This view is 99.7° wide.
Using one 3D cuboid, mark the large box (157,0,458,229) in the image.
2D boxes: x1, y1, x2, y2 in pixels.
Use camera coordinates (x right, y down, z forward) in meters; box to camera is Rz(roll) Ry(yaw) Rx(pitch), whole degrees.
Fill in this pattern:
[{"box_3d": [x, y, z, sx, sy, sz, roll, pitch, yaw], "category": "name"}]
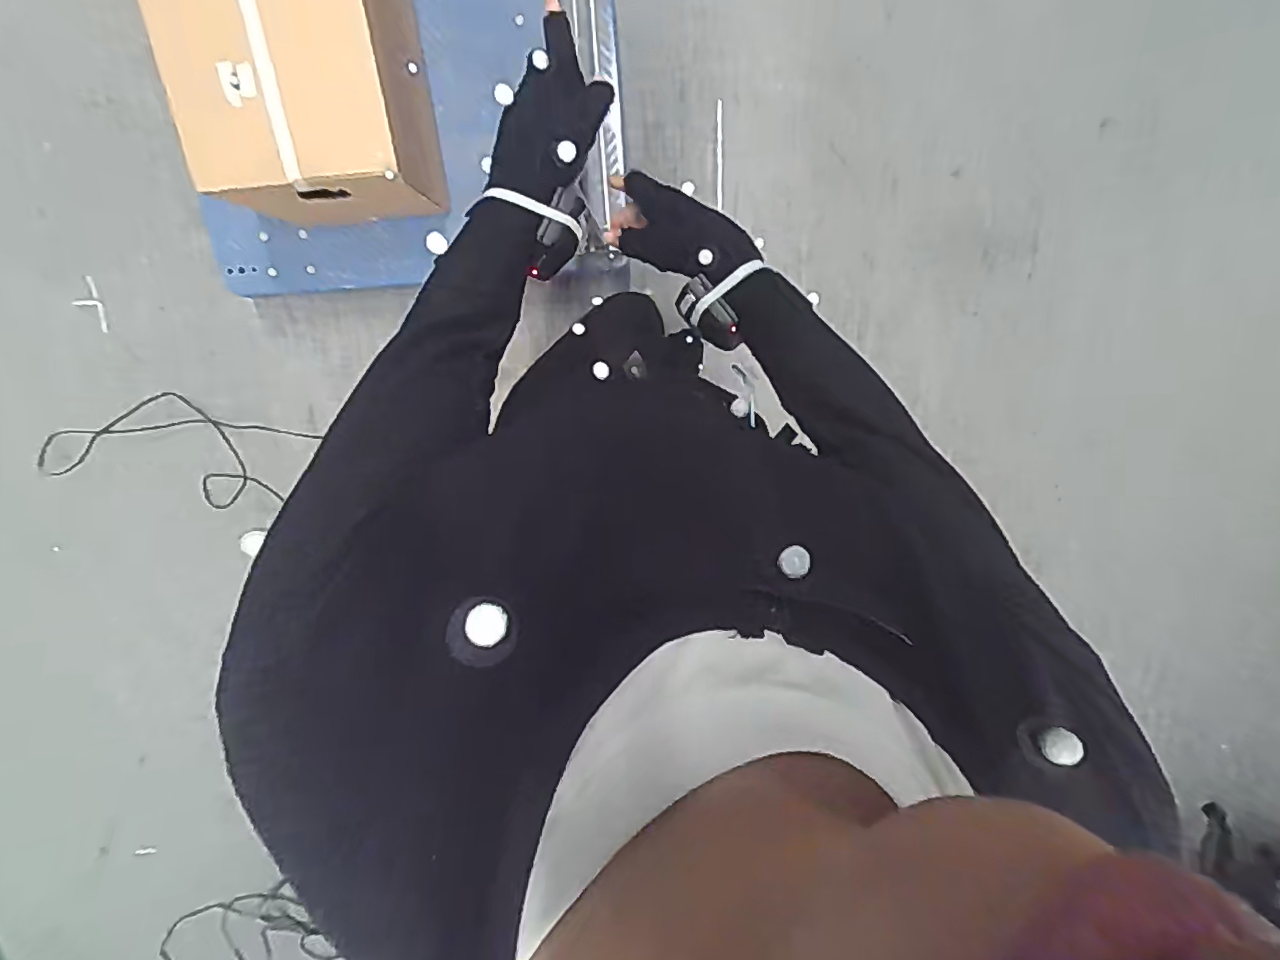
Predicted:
[{"box_3d": [-0.544, -0.691, 0.939, 0.320, 0.320, 0.408, -7, 107, -1], "category": "large box"}]
